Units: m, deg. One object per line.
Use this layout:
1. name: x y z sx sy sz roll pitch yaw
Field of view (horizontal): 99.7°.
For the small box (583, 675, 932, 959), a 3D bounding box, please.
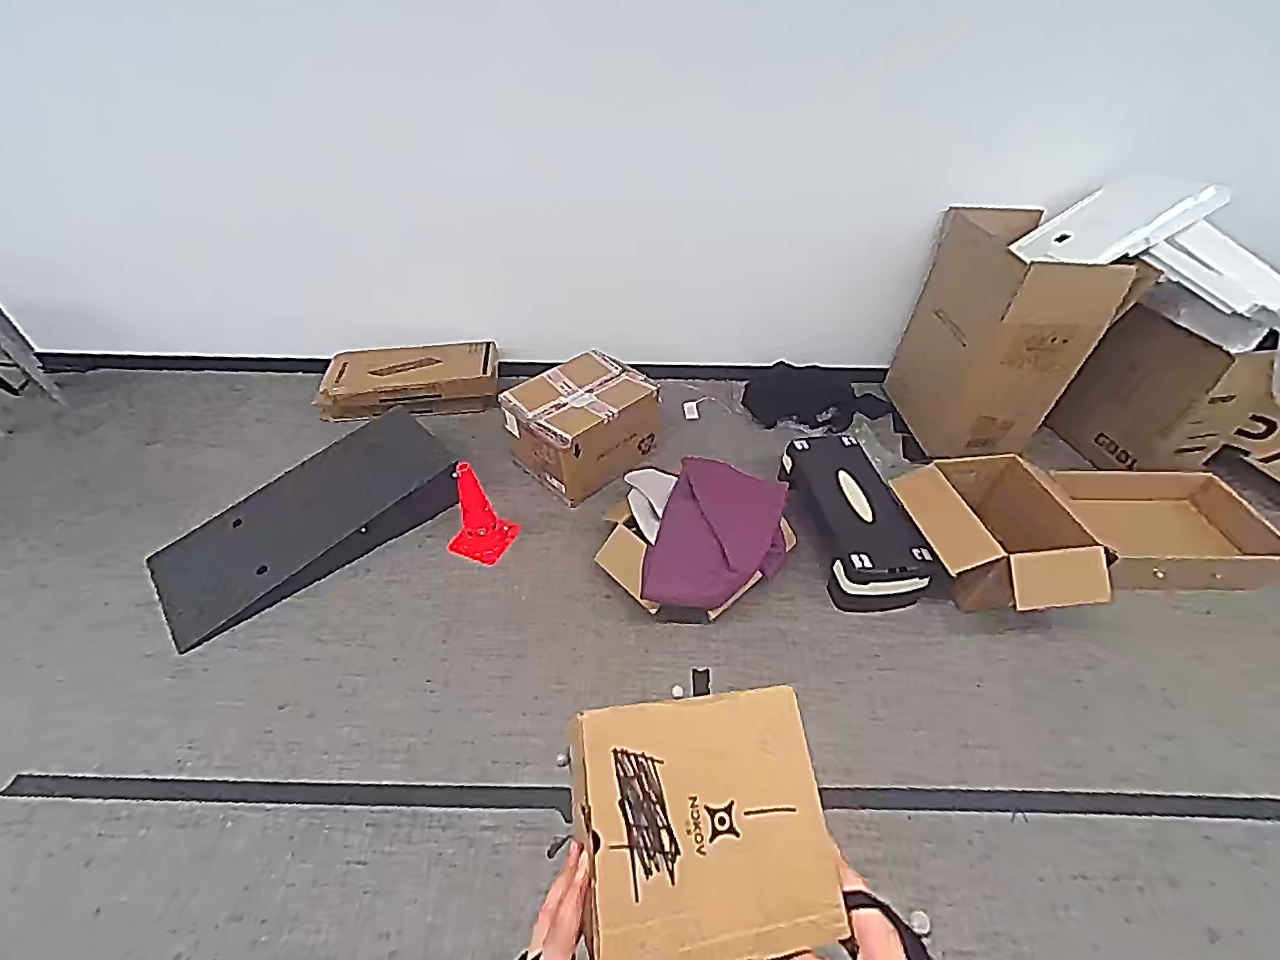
1. small box: 0.053 0.240 0.377 0.179 0.176 0.168 -1 64 -13
